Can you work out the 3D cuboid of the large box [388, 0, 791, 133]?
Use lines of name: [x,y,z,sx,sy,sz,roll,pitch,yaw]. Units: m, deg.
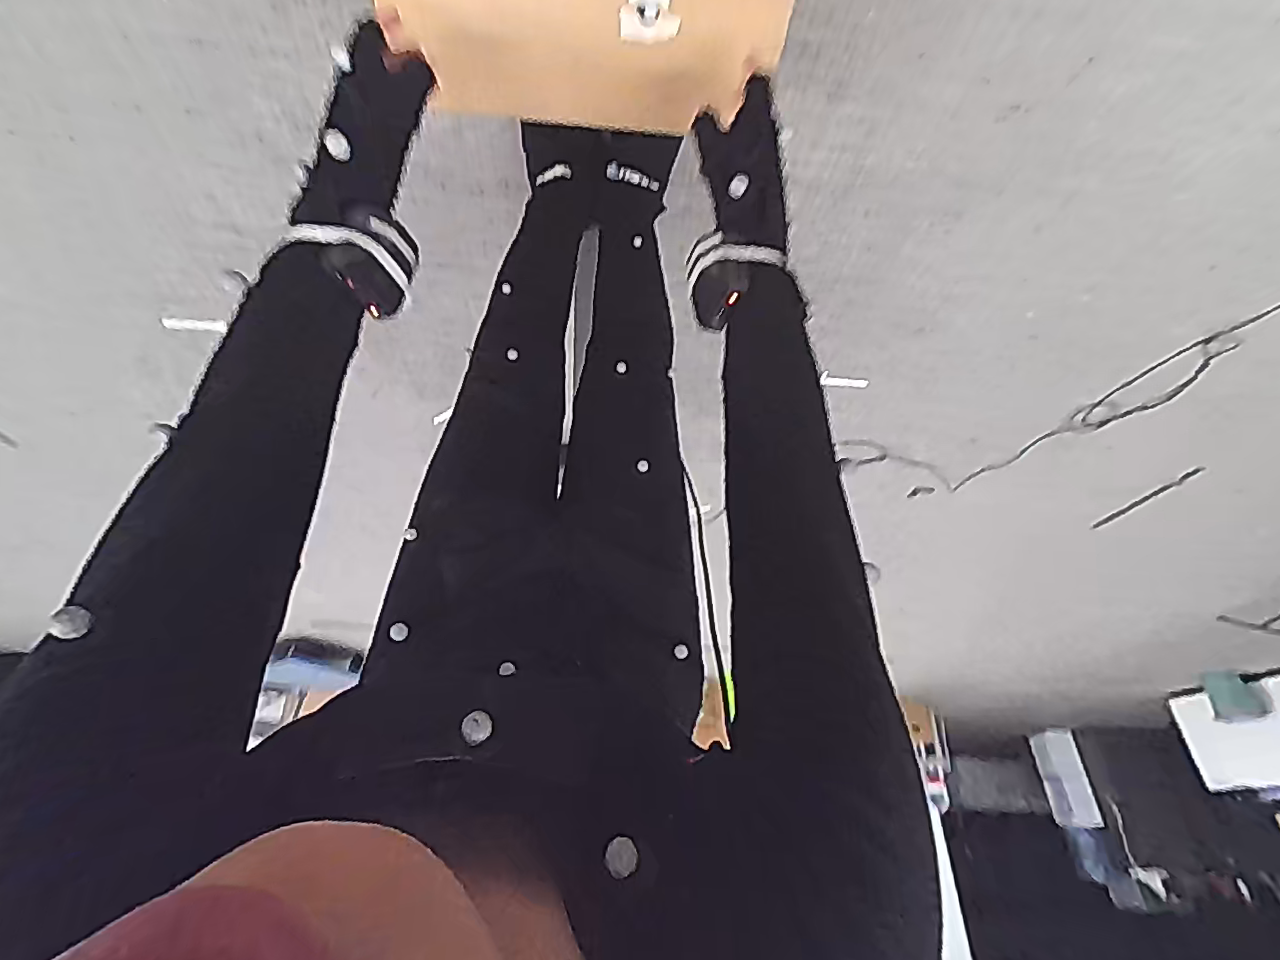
large box: [-0.047,-0.618,0.575,0.408,0.320,0.320,3,147,-3]
